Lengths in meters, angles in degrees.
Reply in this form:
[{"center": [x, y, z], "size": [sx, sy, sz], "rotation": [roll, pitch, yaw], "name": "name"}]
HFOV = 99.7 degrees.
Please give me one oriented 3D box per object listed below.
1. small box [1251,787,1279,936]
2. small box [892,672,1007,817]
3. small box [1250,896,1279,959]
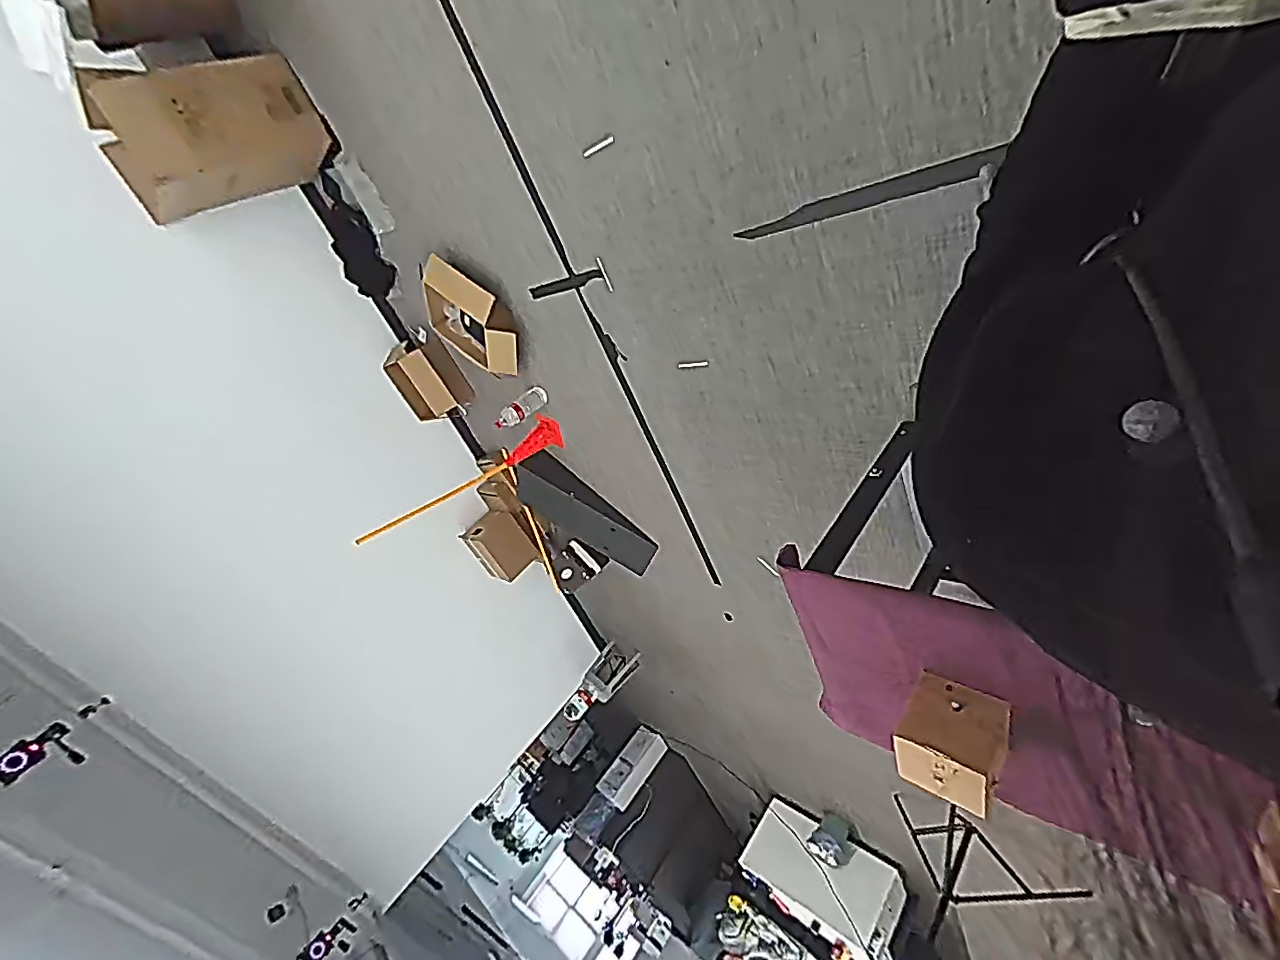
[{"center": [0.976, 0.568, 0.742], "size": [0.168, 0.176, 0.179], "rotation": [8, 133, 46], "name": "small box"}, {"center": [0.639, 0.537, 1.115], "size": [0.168, 0.176, 0.179], "rotation": [12, 135, 42], "name": "small box"}, {"center": [0.877, 0.670, 0.661], "size": [0.168, 0.176, 0.179], "rotation": [7, 133, 46], "name": "small box"}]
